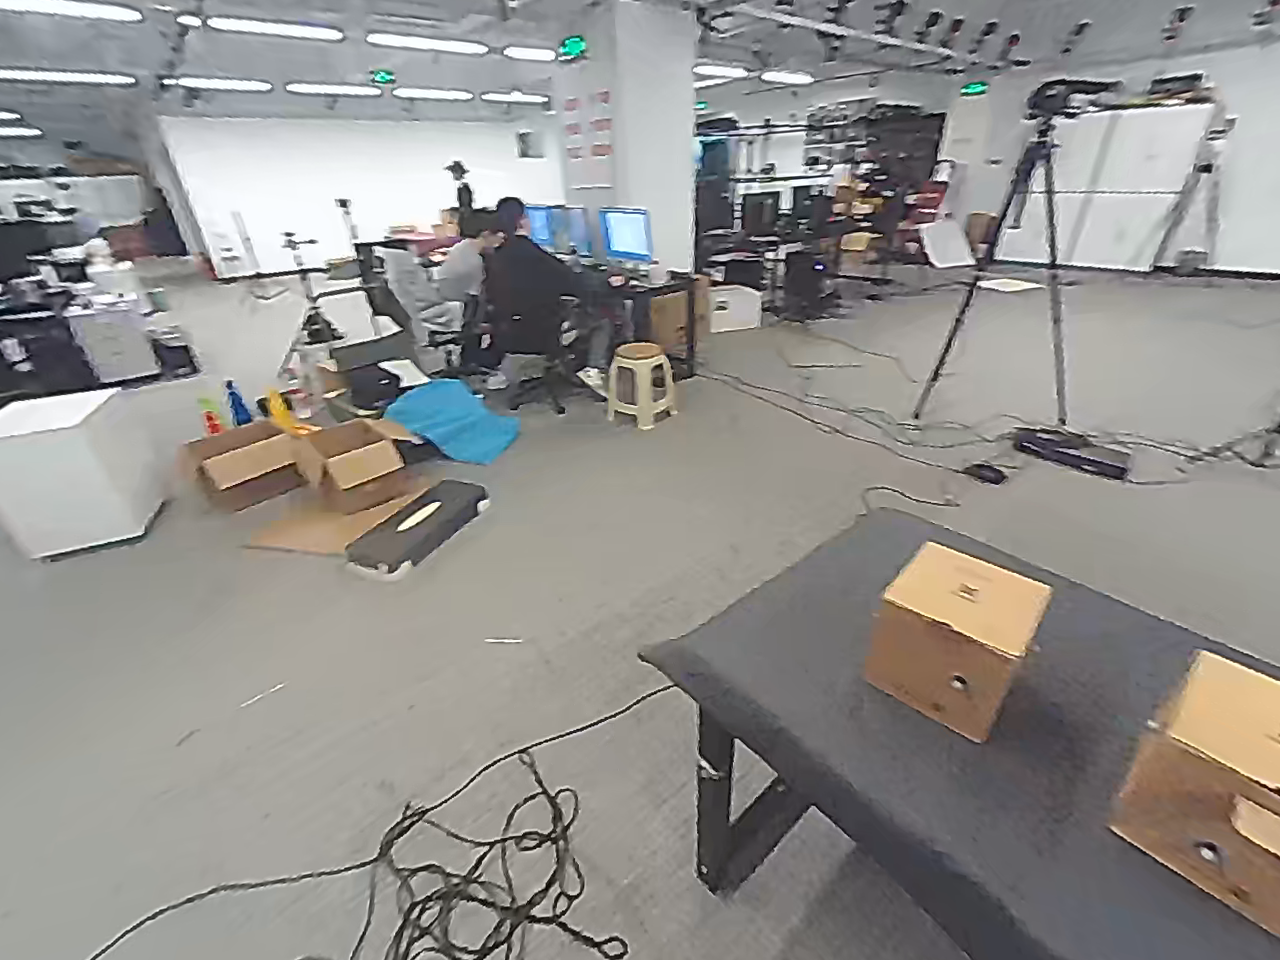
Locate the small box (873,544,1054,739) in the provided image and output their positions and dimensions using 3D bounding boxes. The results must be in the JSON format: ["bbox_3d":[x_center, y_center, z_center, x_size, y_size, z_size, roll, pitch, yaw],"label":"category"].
[{"bbox_3d":[0.455,0.227,0.779,0.168,0.176,0.179,25,38,37],"label":"small box"}]

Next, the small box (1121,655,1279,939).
[{"bbox_3d":[0.661,0.333,0.575,0.179,0.176,0.168,-24,36,-33],"label":"small box"}]
